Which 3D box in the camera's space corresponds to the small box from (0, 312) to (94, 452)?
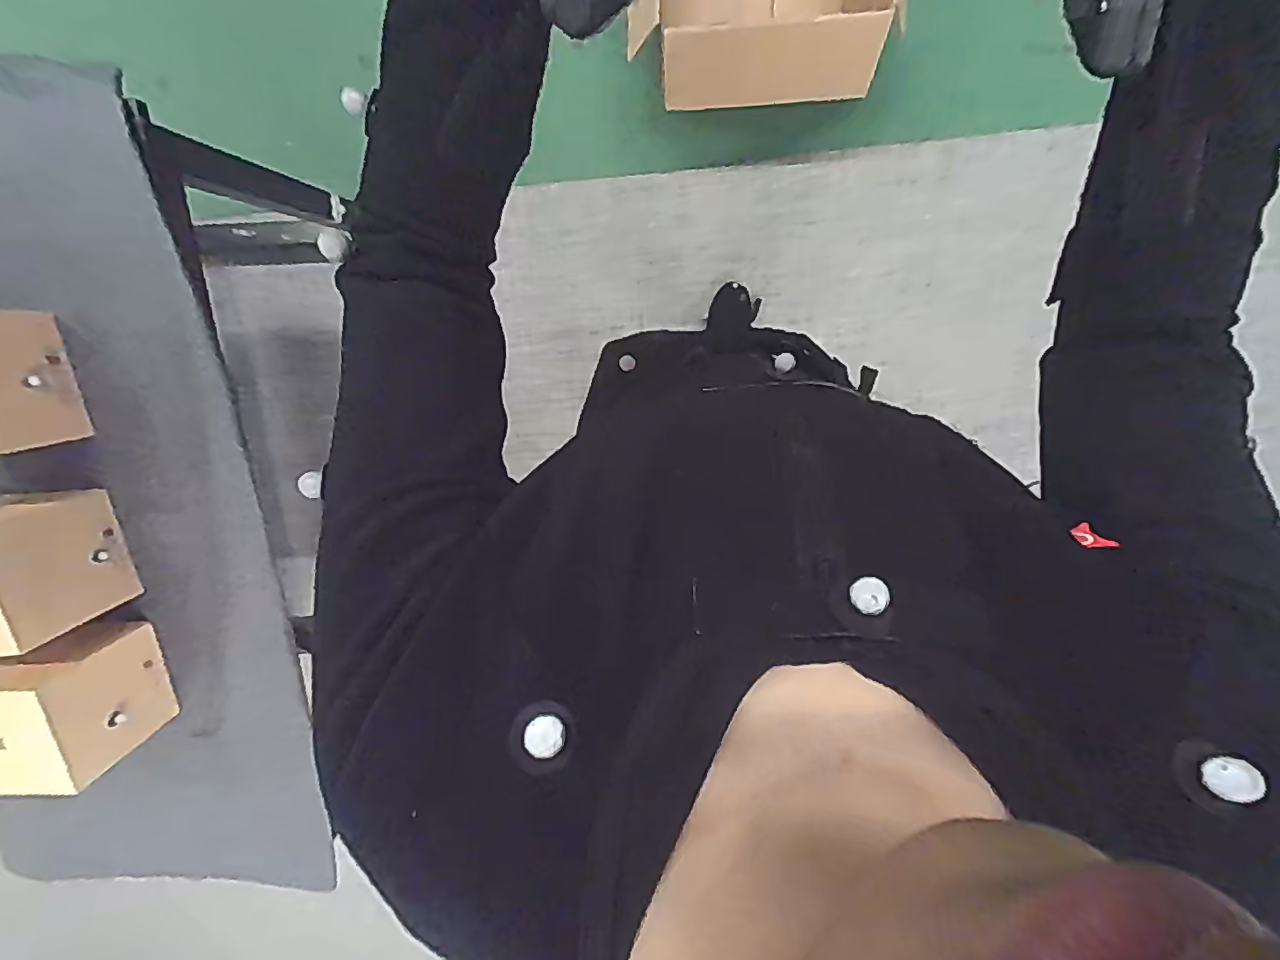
[{"bbox_3d":[-0.843,-0.114,0.654,0.179,0.176,0.168,-3,106,3],"label":"small box"}]
